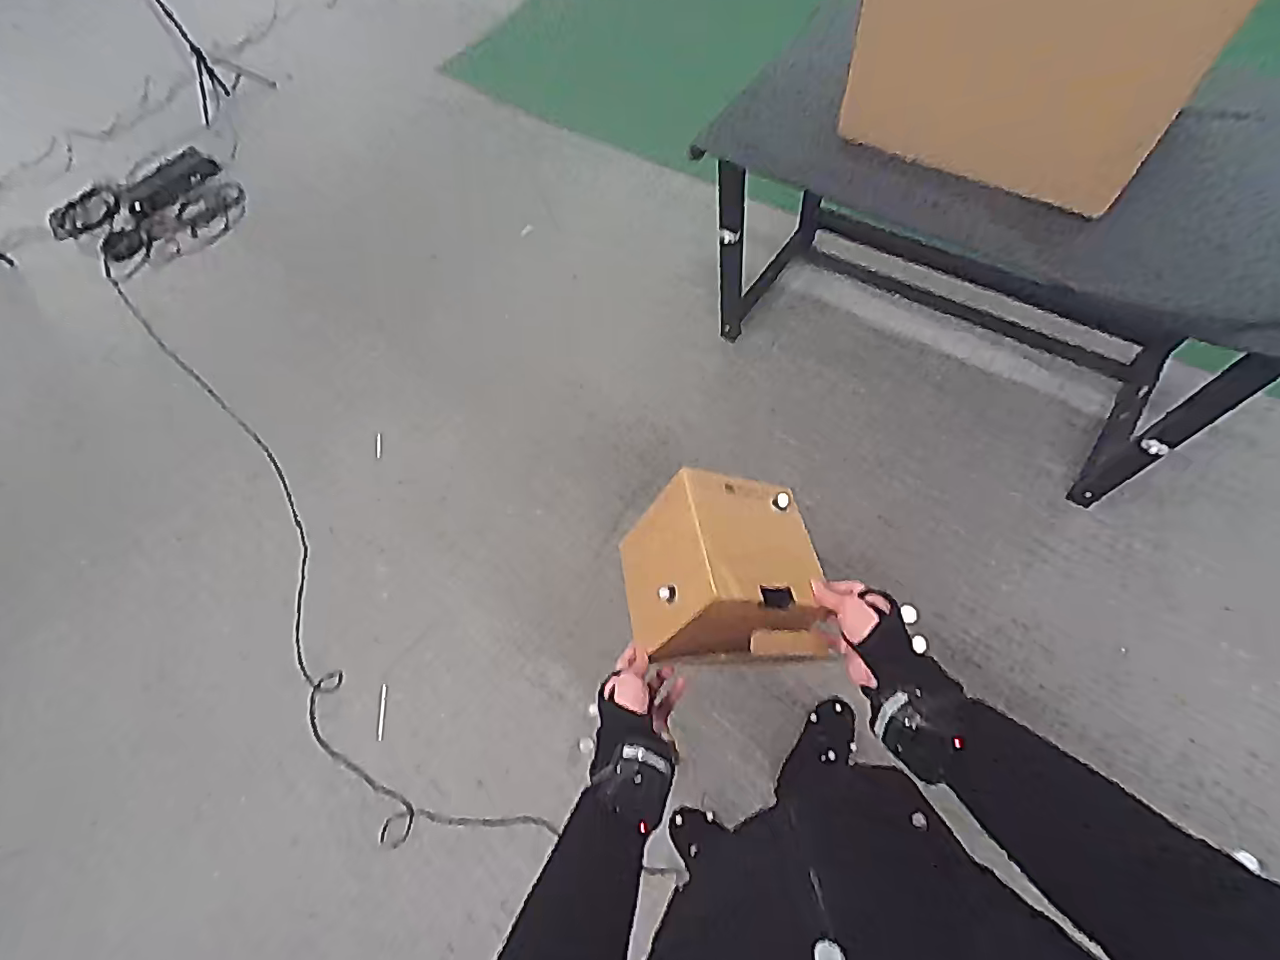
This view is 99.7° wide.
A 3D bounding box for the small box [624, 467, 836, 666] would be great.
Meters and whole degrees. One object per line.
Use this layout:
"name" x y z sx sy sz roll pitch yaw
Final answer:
"small box" 0.091 0.107 0.650 0.168 0.179 0.176 13 47 -26
